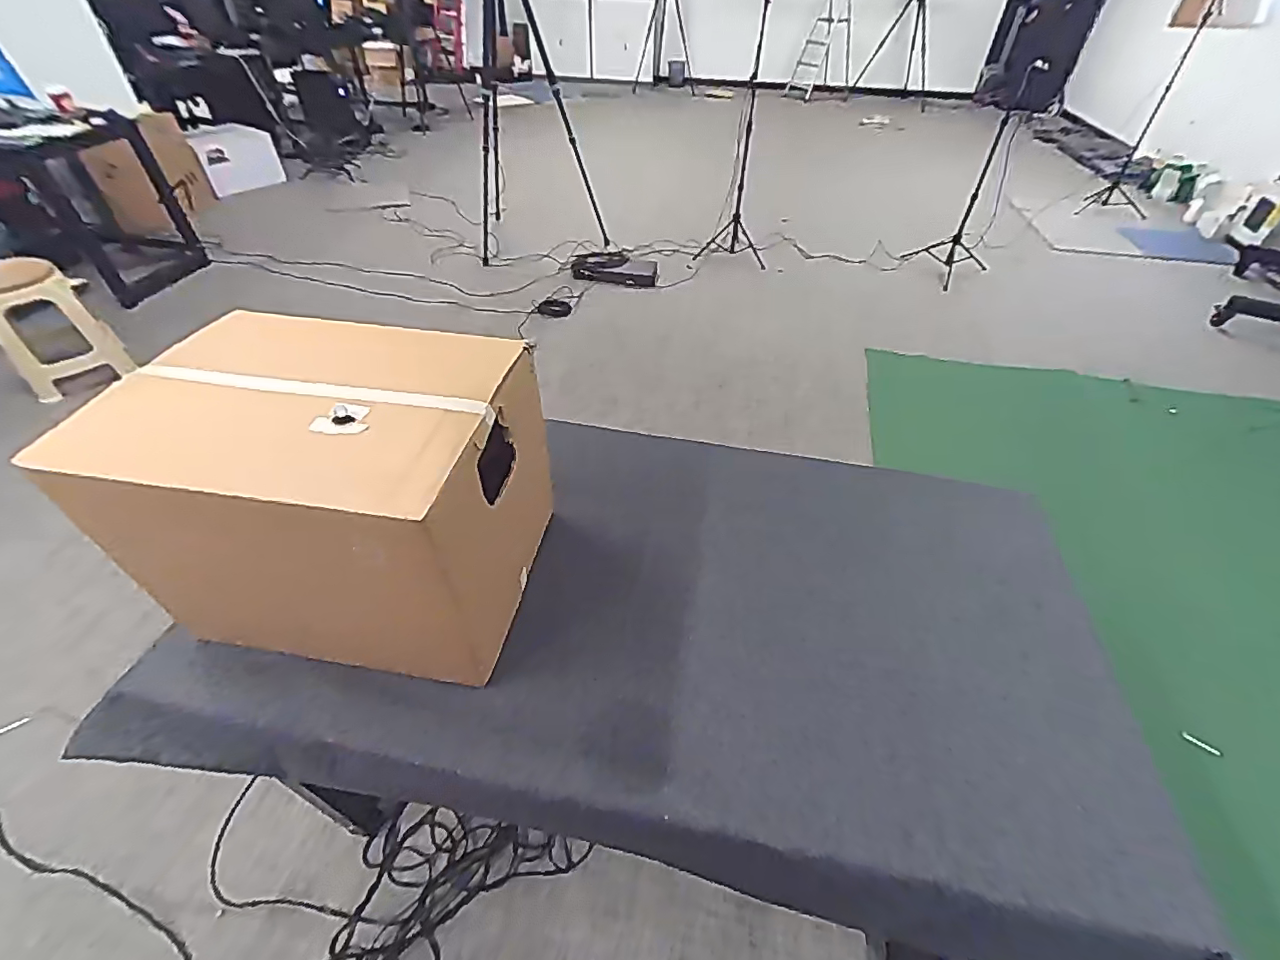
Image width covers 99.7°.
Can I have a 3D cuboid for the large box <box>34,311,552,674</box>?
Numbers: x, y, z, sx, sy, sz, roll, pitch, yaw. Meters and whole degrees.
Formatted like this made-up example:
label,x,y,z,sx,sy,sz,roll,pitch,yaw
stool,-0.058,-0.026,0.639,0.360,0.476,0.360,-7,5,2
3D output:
label,x,y,z,sx,sy,sz,roll,pitch,yaw
large box,-0.352,0.012,0.694,0.408,0.320,0.320,8,44,4
